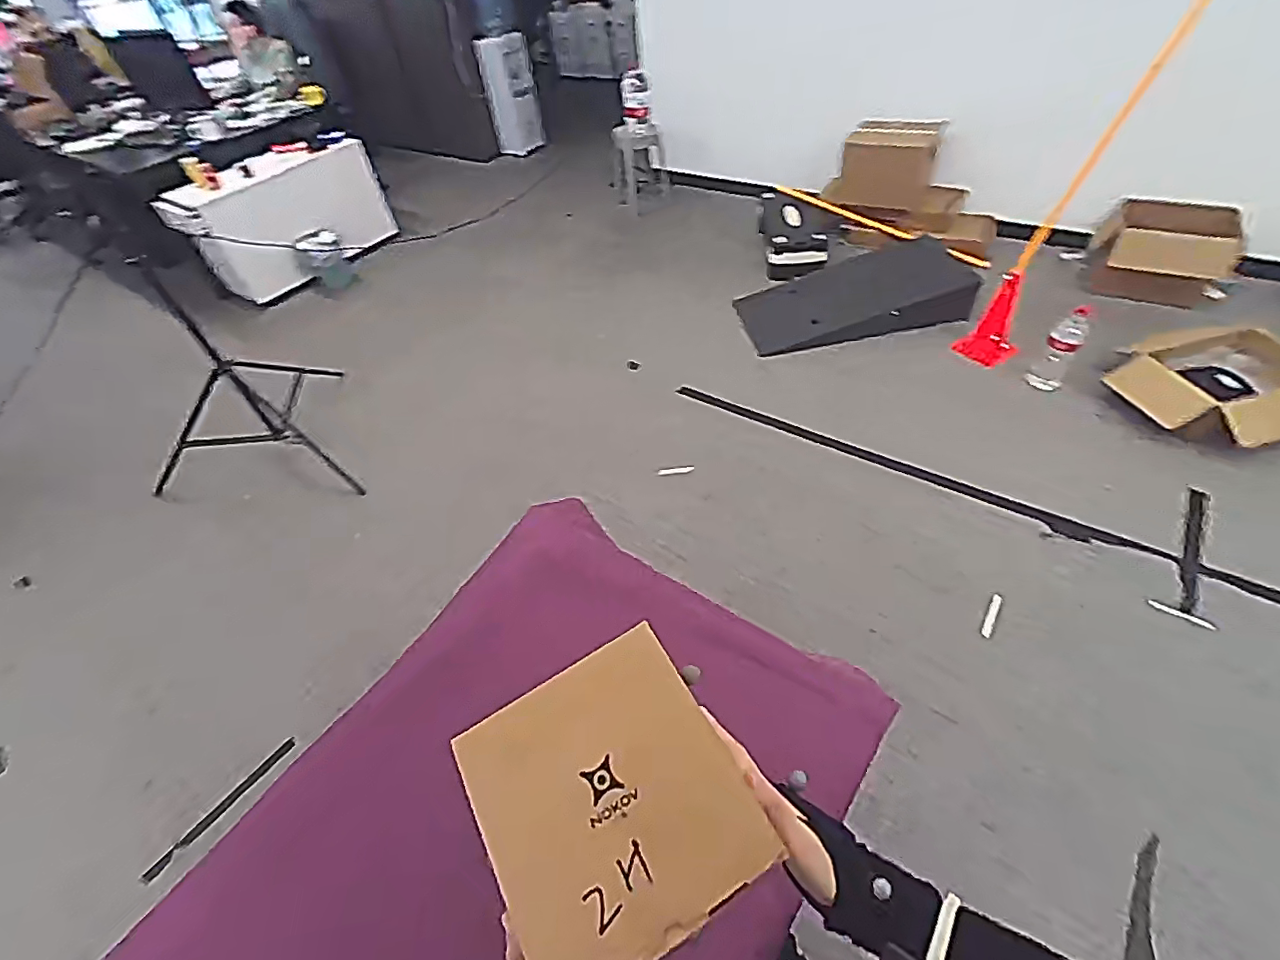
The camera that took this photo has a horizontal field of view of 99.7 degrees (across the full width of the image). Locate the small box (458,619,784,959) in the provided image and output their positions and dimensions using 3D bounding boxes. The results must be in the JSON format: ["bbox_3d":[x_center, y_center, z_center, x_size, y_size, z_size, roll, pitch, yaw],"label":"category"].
[{"bbox_3d":[-0.013,0.247,0.425,0.168,0.176,0.179,-29,58,-10],"label":"small box"}]
